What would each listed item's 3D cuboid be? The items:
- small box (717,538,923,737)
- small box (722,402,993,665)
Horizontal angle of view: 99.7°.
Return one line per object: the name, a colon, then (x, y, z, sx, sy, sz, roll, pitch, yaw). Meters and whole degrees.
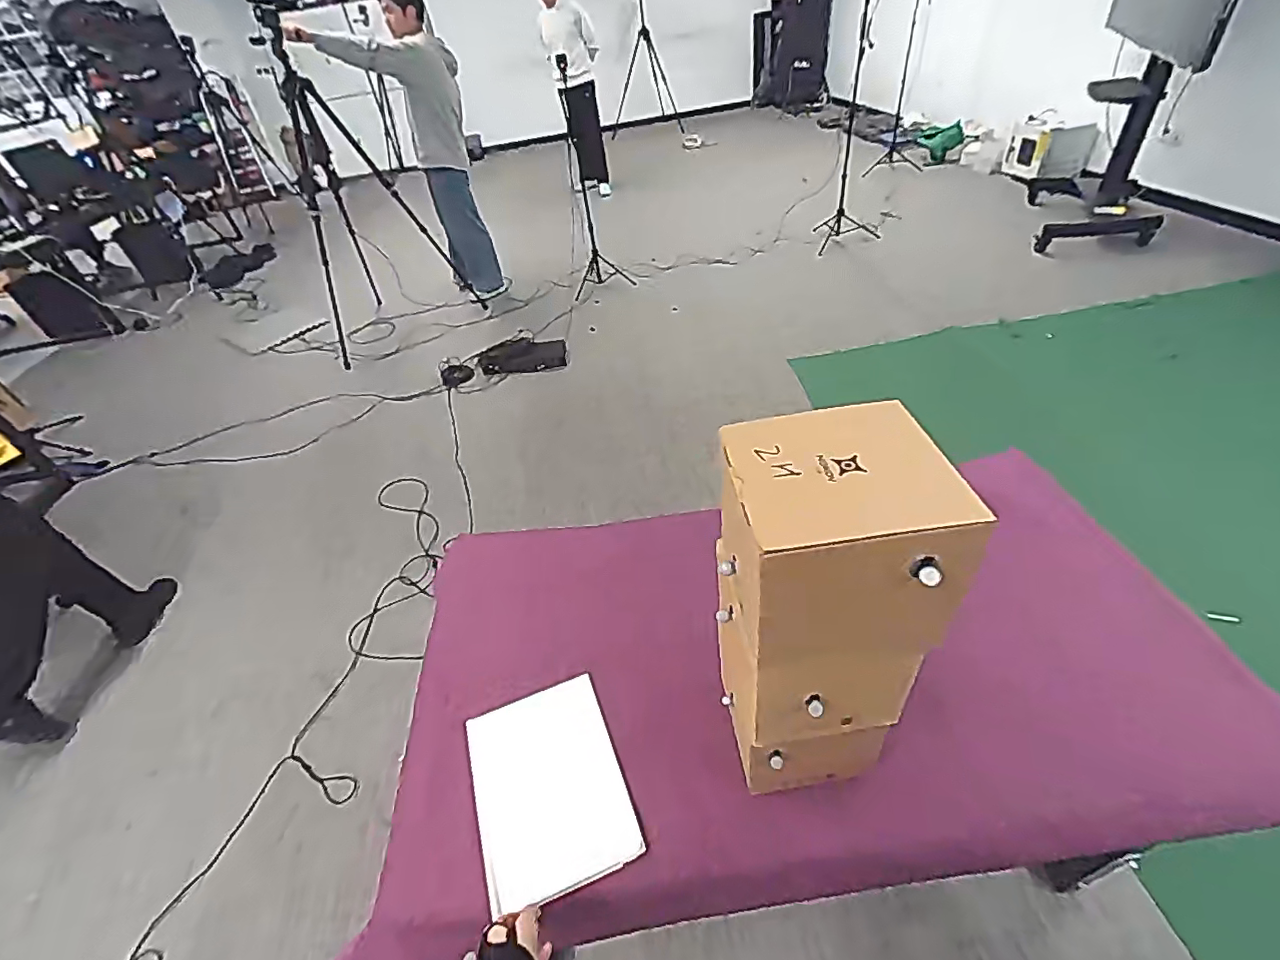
small box: (0.188, 0.172, 0.617, 0.168, 0.176, 0.179, -9, 40, 0)
small box: (0.177, 0.051, 0.505, 0.179, 0.176, 0.168, -8, 40, 2)
